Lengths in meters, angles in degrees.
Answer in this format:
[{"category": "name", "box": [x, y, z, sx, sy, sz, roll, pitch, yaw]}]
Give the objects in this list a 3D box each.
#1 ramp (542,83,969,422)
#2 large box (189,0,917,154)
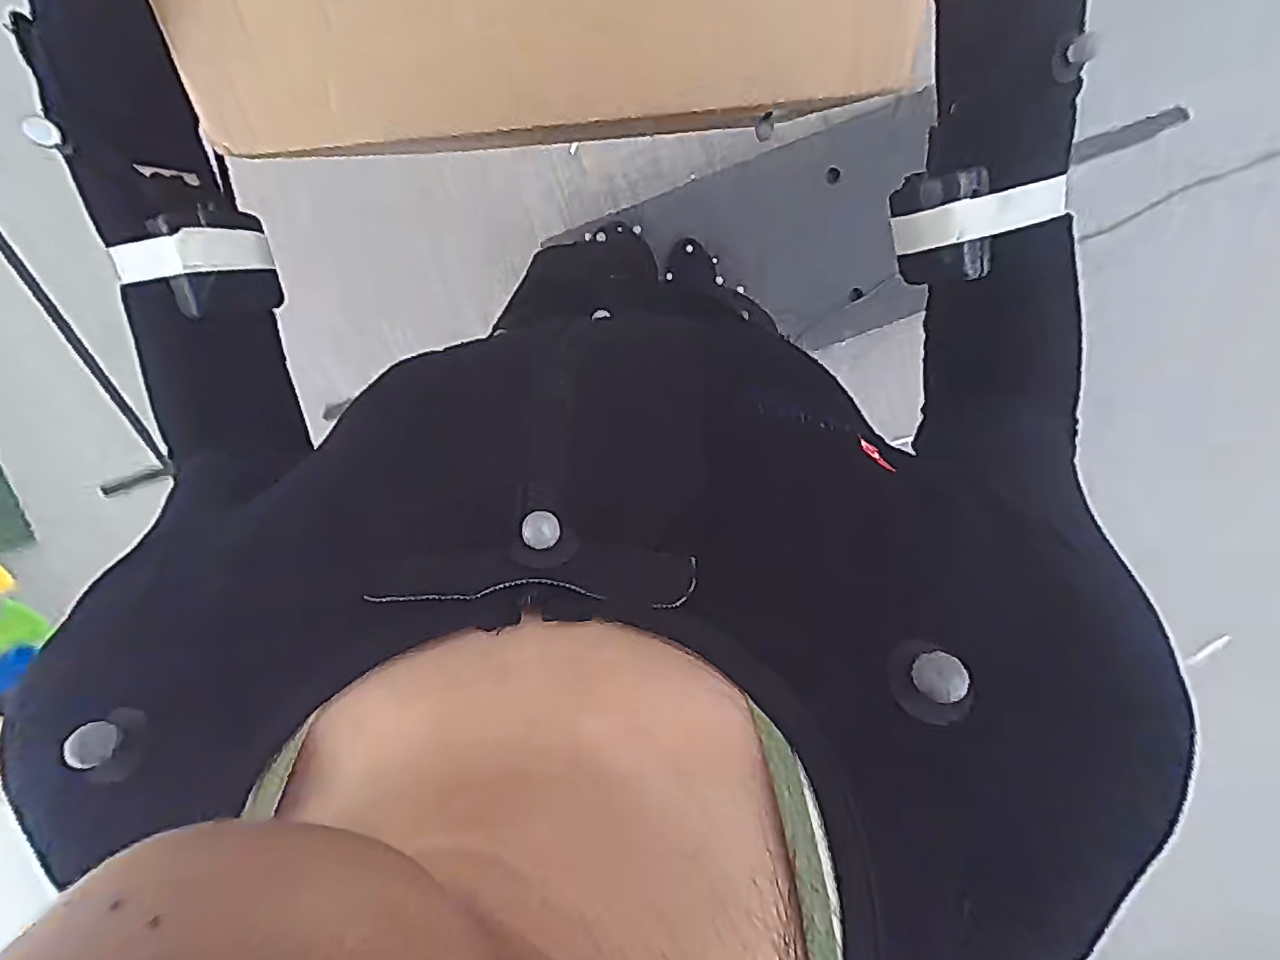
[{"category": "ramp", "box": [0.306, -0.538, 1.360, 0.991, 0.206, 0.509, -18, 110, 14]}, {"category": "large box", "box": [-0.051, -0.422, 0.370, 0.408, 0.320, 0.320, -2, 121, 4]}]
